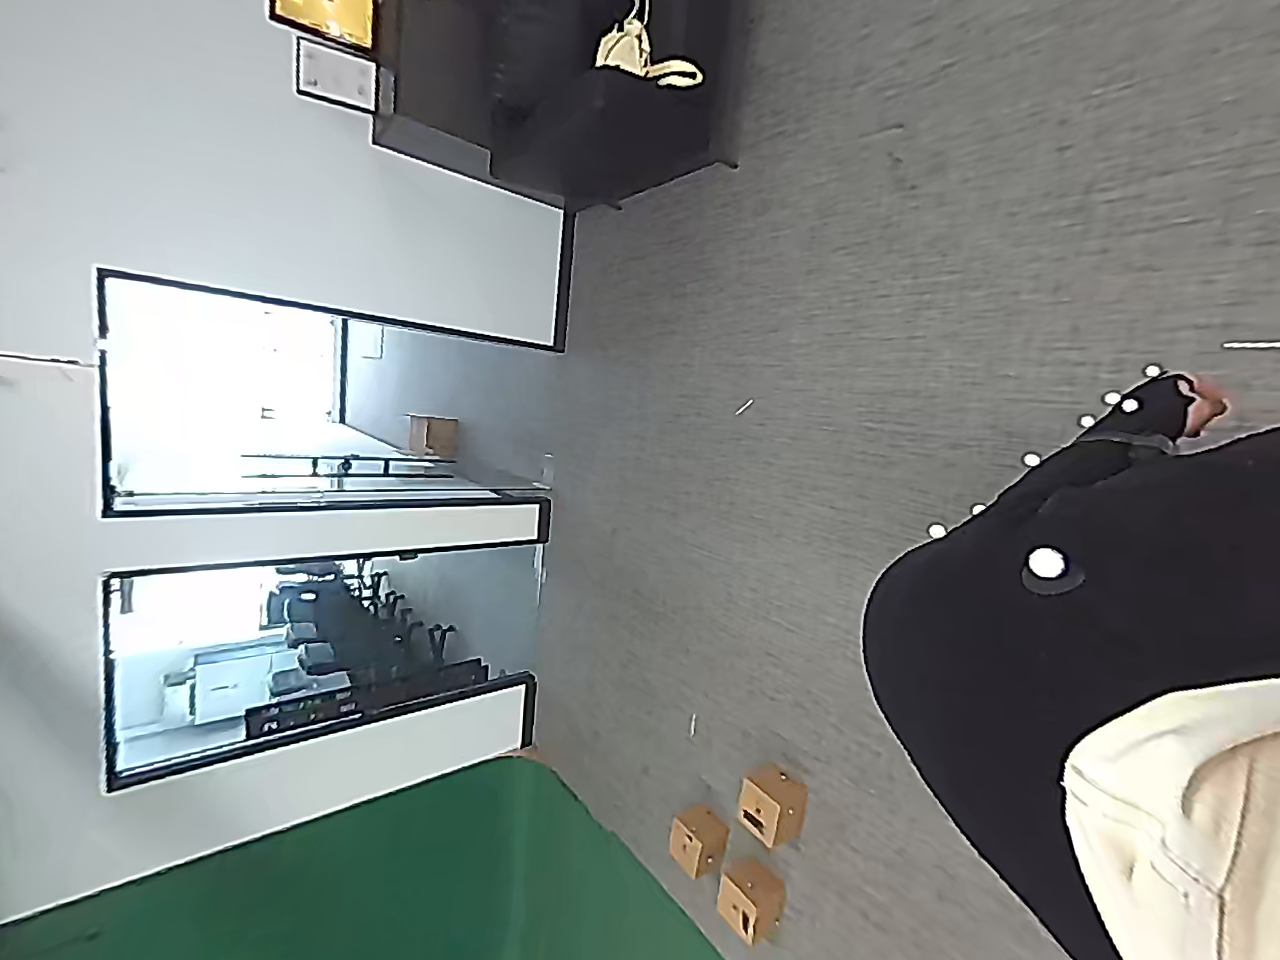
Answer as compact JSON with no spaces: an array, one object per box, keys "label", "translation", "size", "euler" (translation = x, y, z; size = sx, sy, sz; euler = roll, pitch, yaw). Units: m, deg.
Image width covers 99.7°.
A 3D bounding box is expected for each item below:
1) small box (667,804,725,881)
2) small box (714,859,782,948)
[{"label":"small box","translation":[0.236,1.506,2.257],"size":[0.168,0.176,0.179],"euler":[20,106,50]},{"label":"small box","translation":[0.409,1.582,2.037],"size":[0.179,0.176,0.168],"euler":[18,103,51]}]
